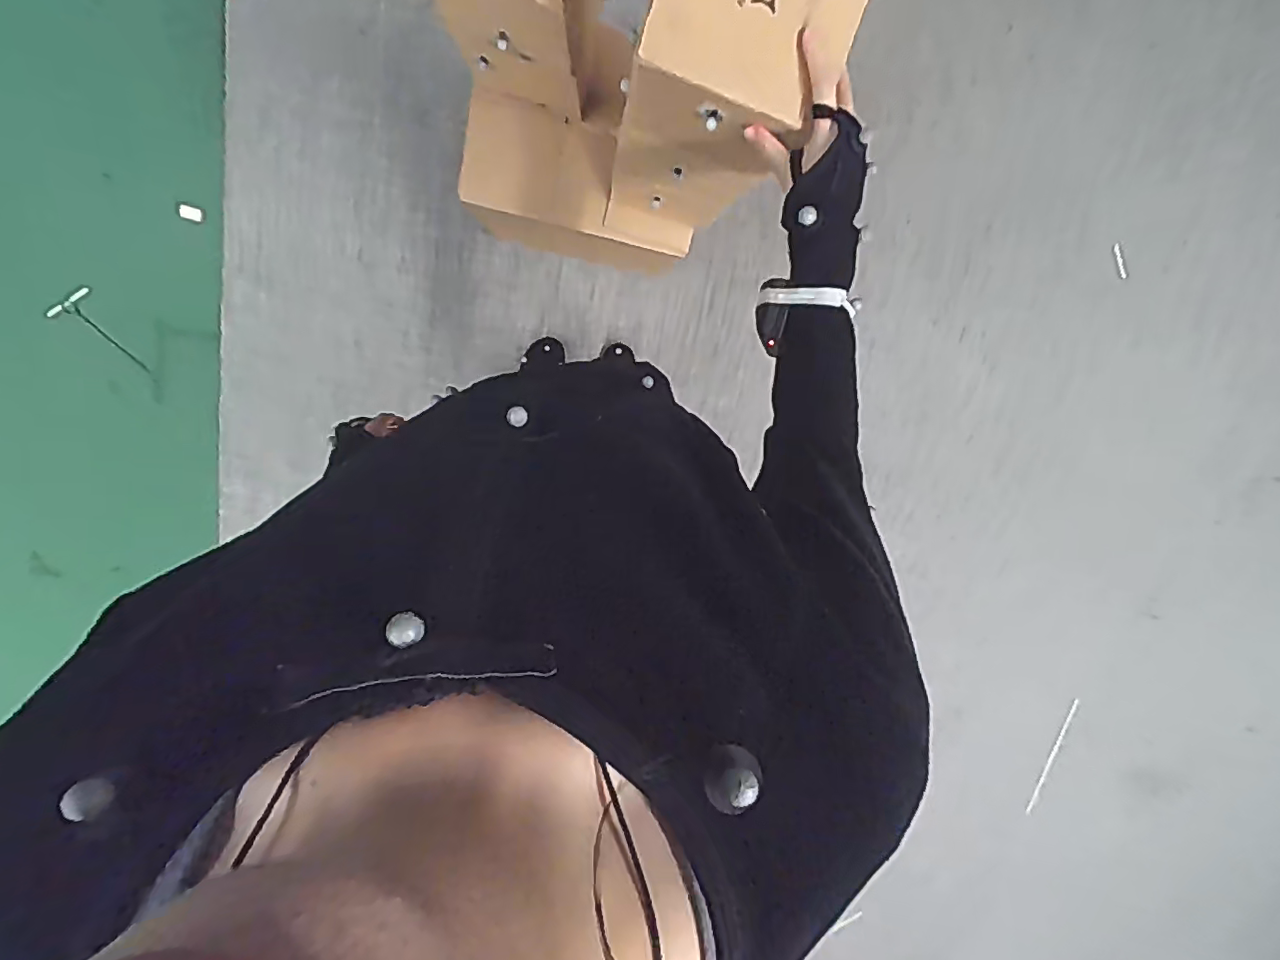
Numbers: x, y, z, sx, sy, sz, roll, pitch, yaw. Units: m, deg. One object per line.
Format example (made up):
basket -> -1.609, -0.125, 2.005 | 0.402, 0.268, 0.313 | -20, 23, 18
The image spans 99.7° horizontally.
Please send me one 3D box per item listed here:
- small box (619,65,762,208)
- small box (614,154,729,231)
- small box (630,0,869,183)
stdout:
small box -> 0.078, -0.467, 0.687 | 0.179, 0.176, 0.168 | 15, 103, -7
small box -> 0.063, -0.506, 0.845 | 0.179, 0.176, 0.168 | 14, 105, -6
small box -> 0.096, -0.422, 0.532 | 0.179, 0.176, 0.168 | 18, 103, -9
